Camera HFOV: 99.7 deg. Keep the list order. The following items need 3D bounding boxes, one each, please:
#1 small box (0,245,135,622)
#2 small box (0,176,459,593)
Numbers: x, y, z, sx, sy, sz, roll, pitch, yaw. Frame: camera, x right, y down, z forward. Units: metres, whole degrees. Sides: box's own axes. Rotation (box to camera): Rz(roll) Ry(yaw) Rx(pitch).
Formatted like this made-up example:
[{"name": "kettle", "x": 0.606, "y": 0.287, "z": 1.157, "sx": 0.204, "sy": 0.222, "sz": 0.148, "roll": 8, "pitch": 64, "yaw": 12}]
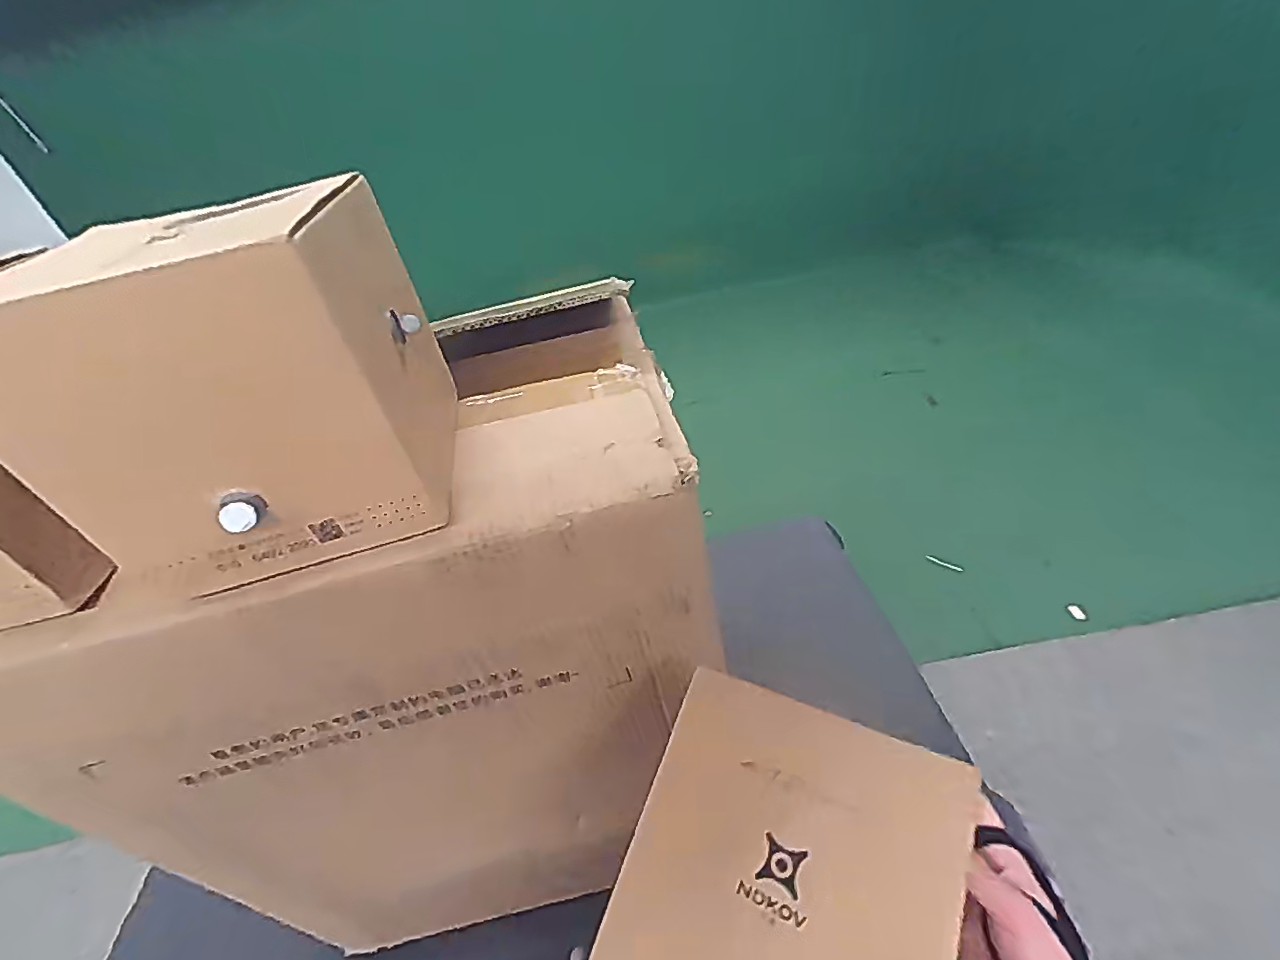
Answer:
[{"name": "small box", "x": -0.431, "y": -0.018, "z": 0.336, "sx": 0.168, "sy": 0.176, "sz": 0.179, "roll": -13, "pitch": 39, "yaw": 0}, {"name": "small box", "x": -0.221, "y": -0.063, "z": 0.330, "sx": 0.168, "sy": 0.176, "sz": 0.179, "roll": -15, "pitch": 40, "yaw": -4}]
